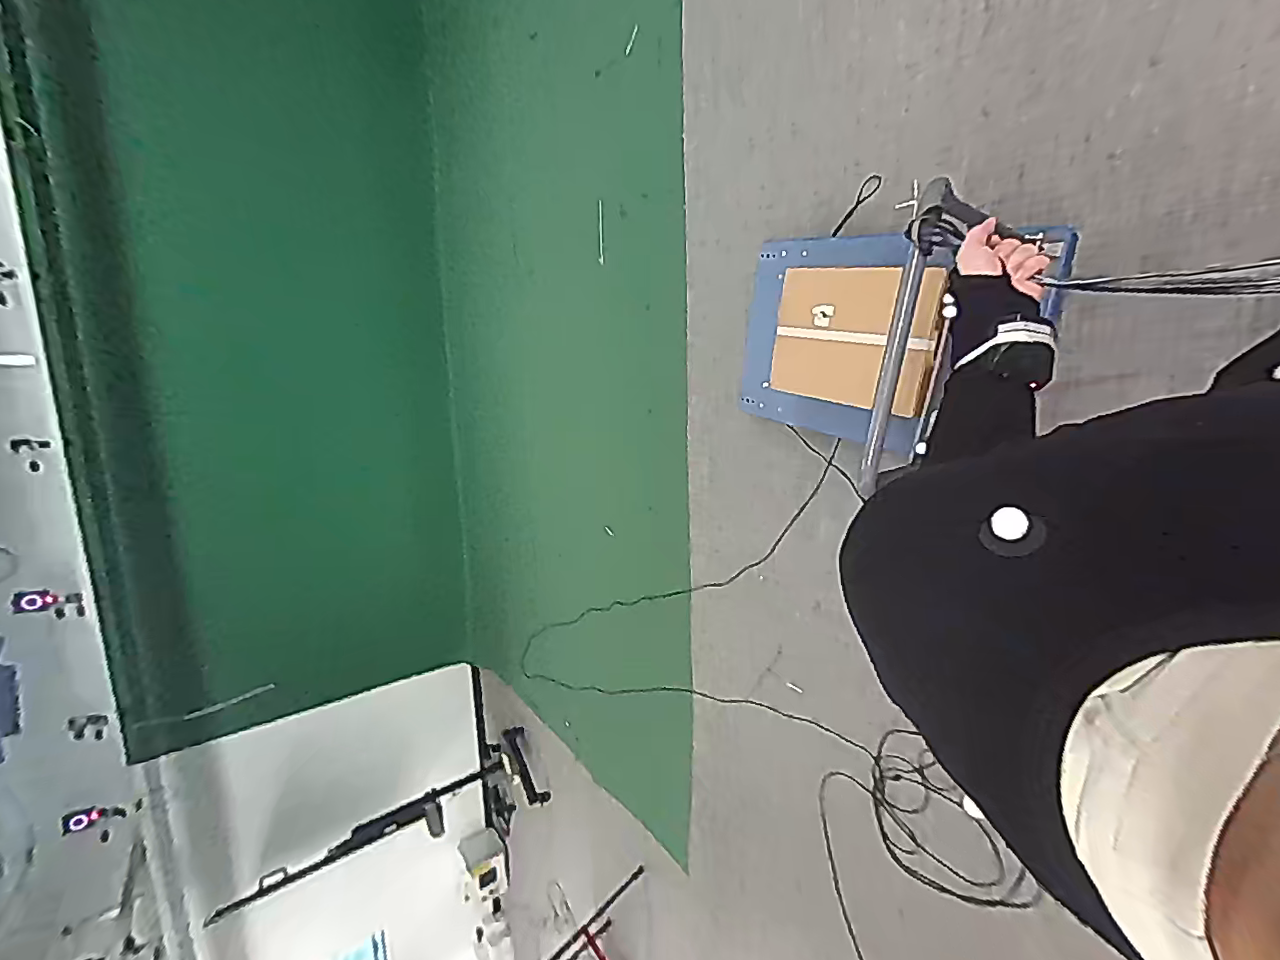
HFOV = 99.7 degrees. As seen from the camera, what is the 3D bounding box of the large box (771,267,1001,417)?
[{"bbox_3d":[0.603,-0.352,1.364,0.408,0.320,0.320,26,116,48],"label":"large box"}]
